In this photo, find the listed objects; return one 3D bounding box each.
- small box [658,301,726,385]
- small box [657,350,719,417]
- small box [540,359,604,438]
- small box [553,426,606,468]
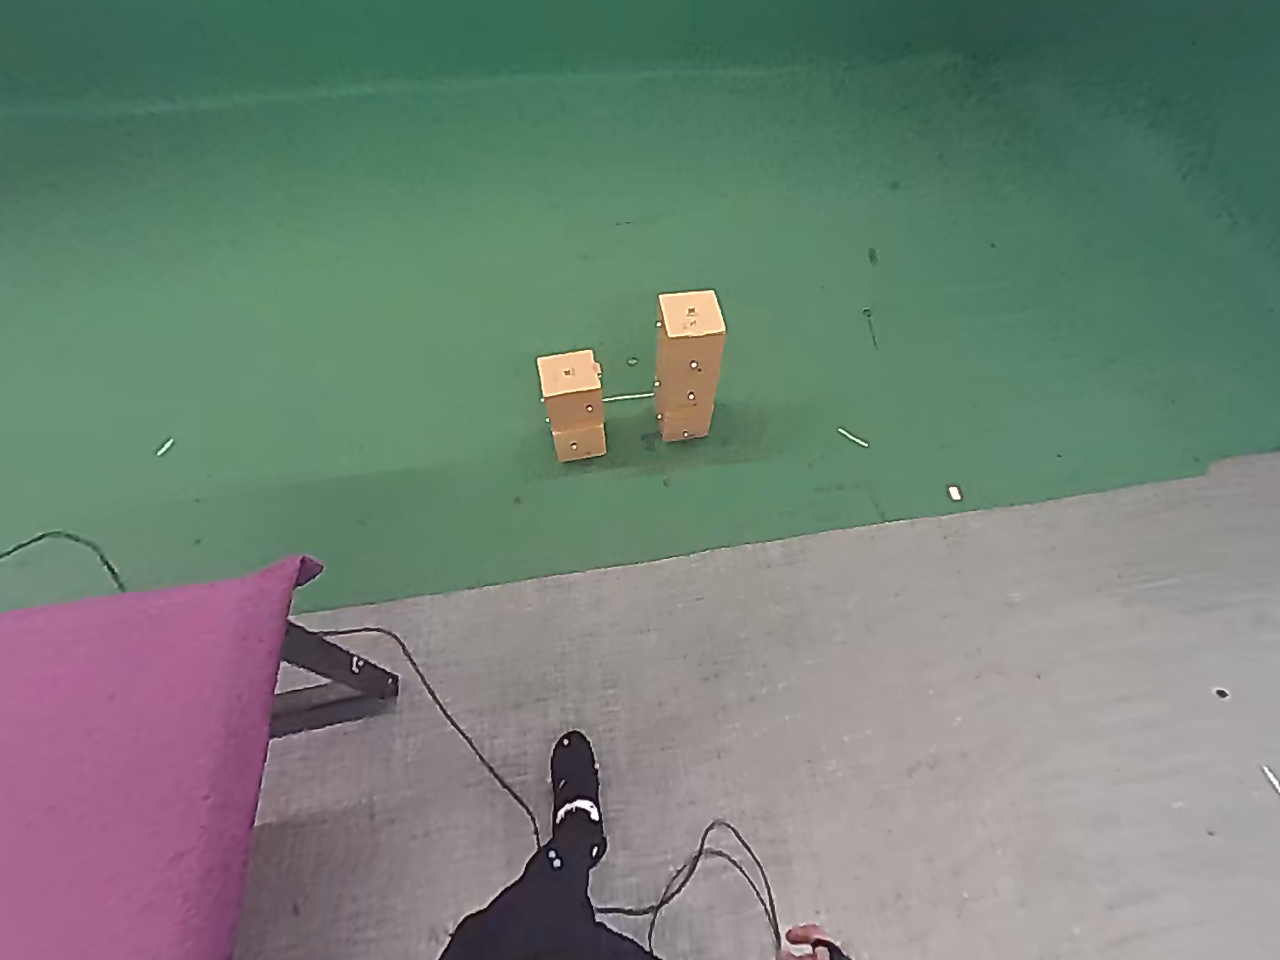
[{"bbox_3d":[0.148,-0.405,1.605,0.168,0.176,0.179,-6,60,-4],"label":"small box"},{"bbox_3d":[0.150,-0.318,1.745,0.168,0.176,0.179,-7,60,-6],"label":"small box"},{"bbox_3d":[-0.212,-0.254,1.706,0.179,0.176,0.168,-10,58,-6],"label":"small box"},{"bbox_3d":[-0.210,-0.155,1.835,0.168,0.176,0.179,-10,58,-7],"label":"small box"}]
